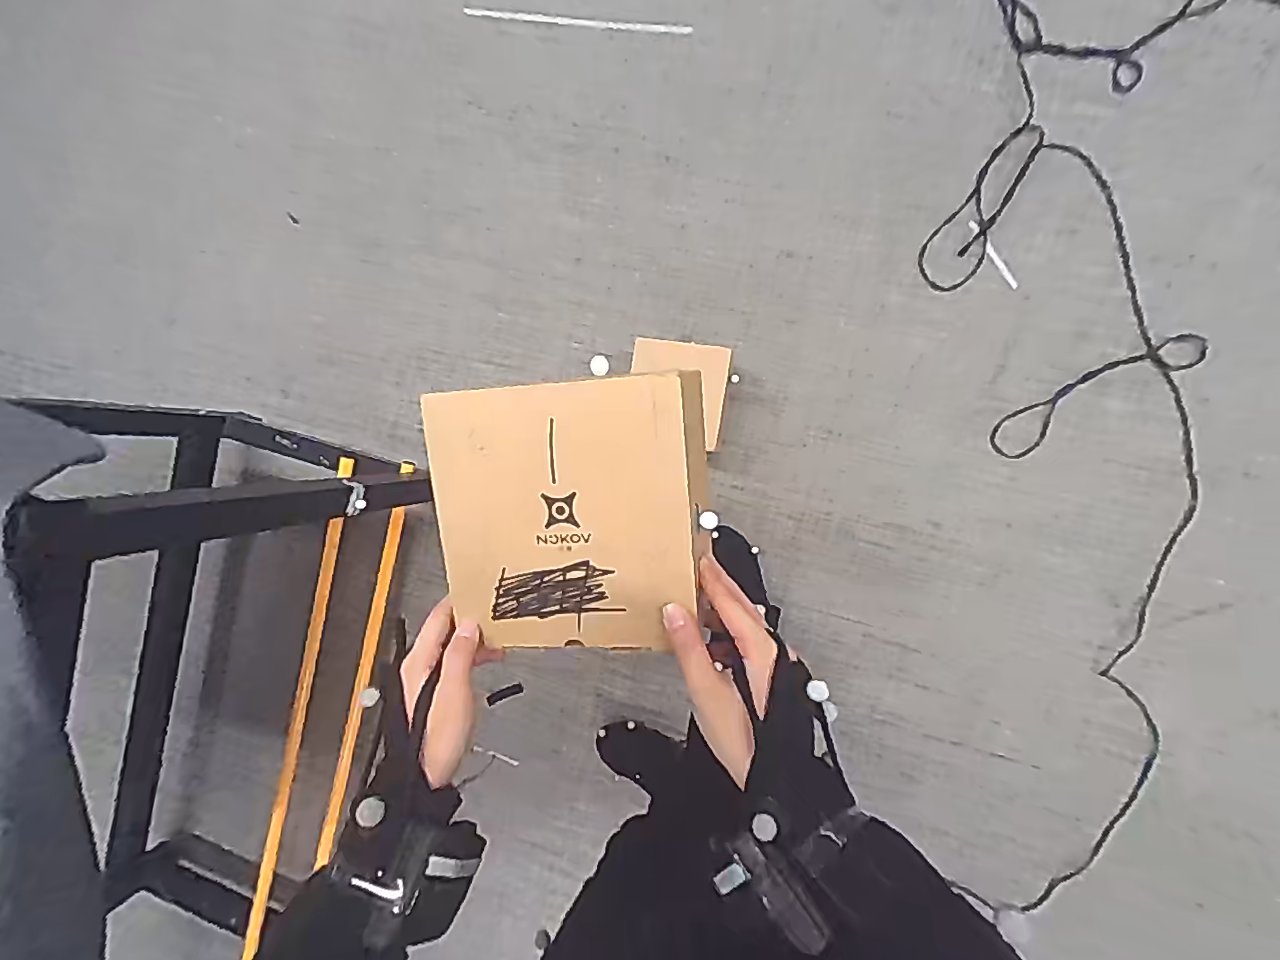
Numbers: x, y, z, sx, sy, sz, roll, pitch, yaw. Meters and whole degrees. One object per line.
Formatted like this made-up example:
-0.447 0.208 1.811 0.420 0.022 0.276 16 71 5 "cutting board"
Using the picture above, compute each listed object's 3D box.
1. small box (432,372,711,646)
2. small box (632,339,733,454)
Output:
-0.034 0.009 0.423 0.168 0.176 0.179 -2 100 11 "small box"
0.075 -0.145 0.985 0.168 0.176 0.179 10 95 11 "small box"
